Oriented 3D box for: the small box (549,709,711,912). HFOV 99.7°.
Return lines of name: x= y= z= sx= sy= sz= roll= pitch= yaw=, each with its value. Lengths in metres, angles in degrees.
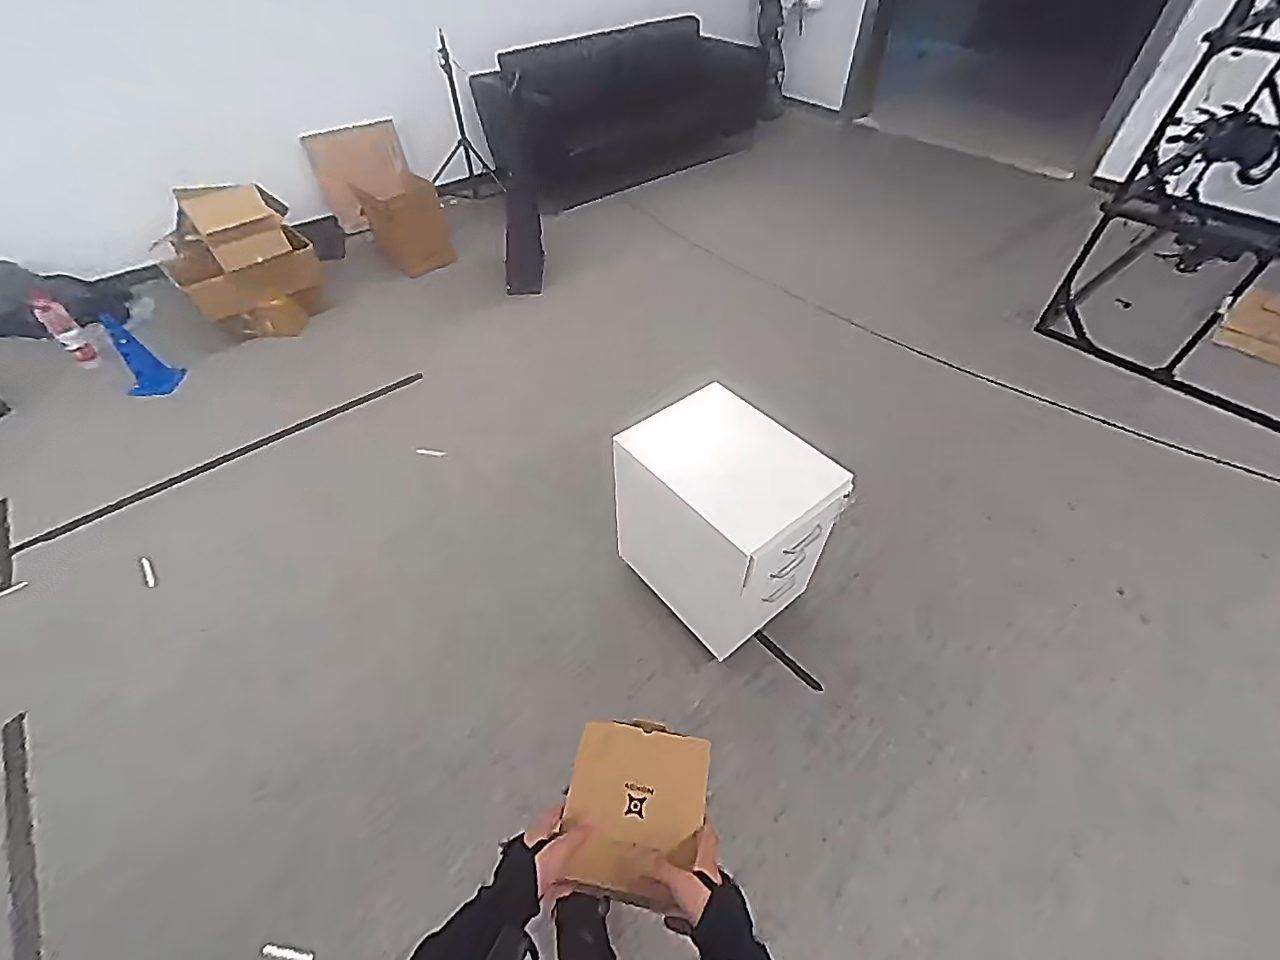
small box: x=-0.010 y=0.430 z=0.702 sx=0.168 sy=0.176 sz=0.179 roll=10 pitch=49 yaw=6
